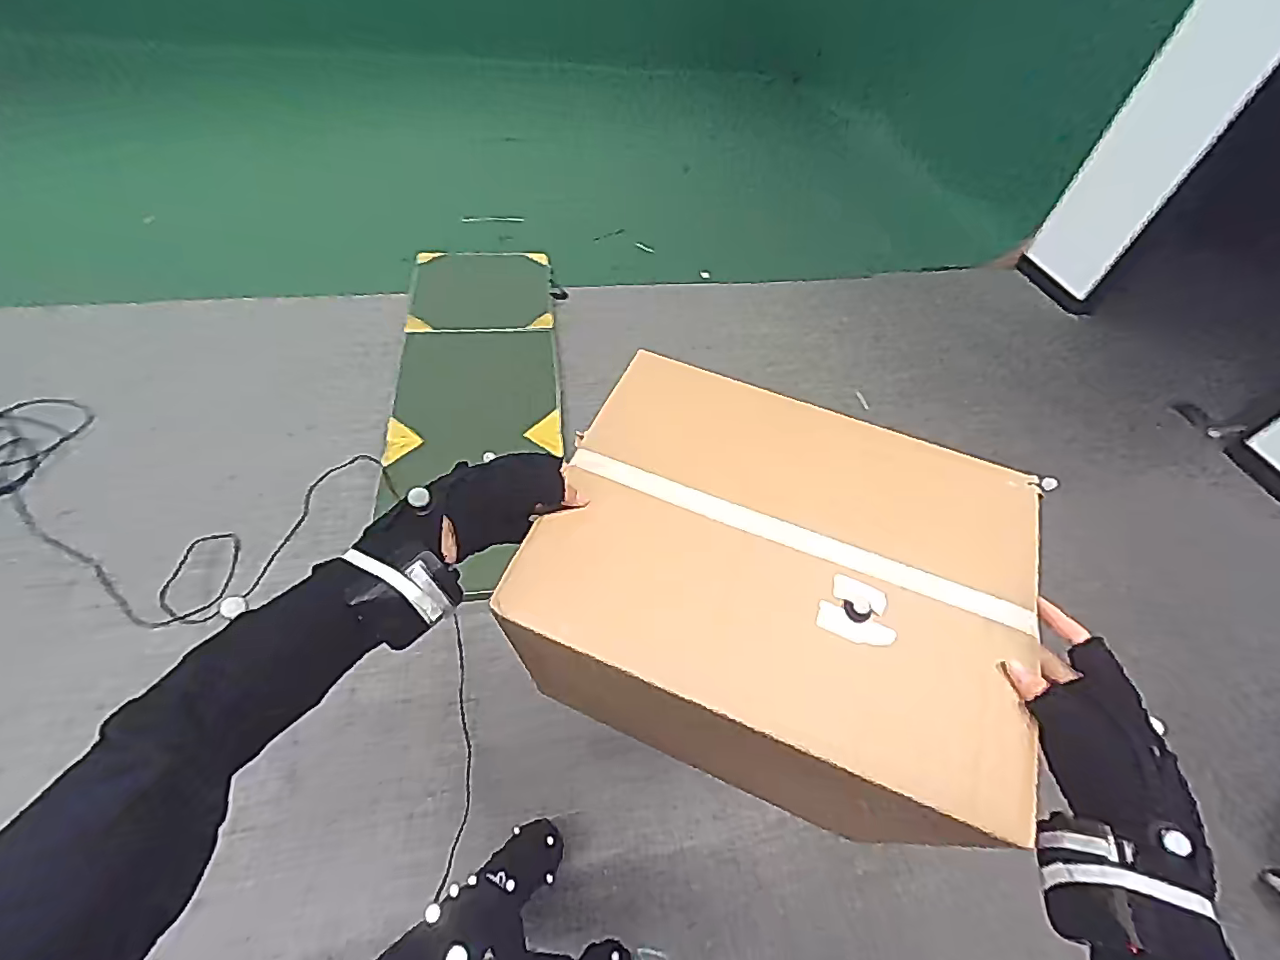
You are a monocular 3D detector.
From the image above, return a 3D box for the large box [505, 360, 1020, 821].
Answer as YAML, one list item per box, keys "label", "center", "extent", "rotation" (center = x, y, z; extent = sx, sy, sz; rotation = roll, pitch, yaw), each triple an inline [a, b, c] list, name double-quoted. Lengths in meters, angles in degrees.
- label: "large box"
  center: [0.118, 0.128, 0.601]
  extent: [0.408, 0.320, 0.320]
  rotation: [20, 59, 9]
